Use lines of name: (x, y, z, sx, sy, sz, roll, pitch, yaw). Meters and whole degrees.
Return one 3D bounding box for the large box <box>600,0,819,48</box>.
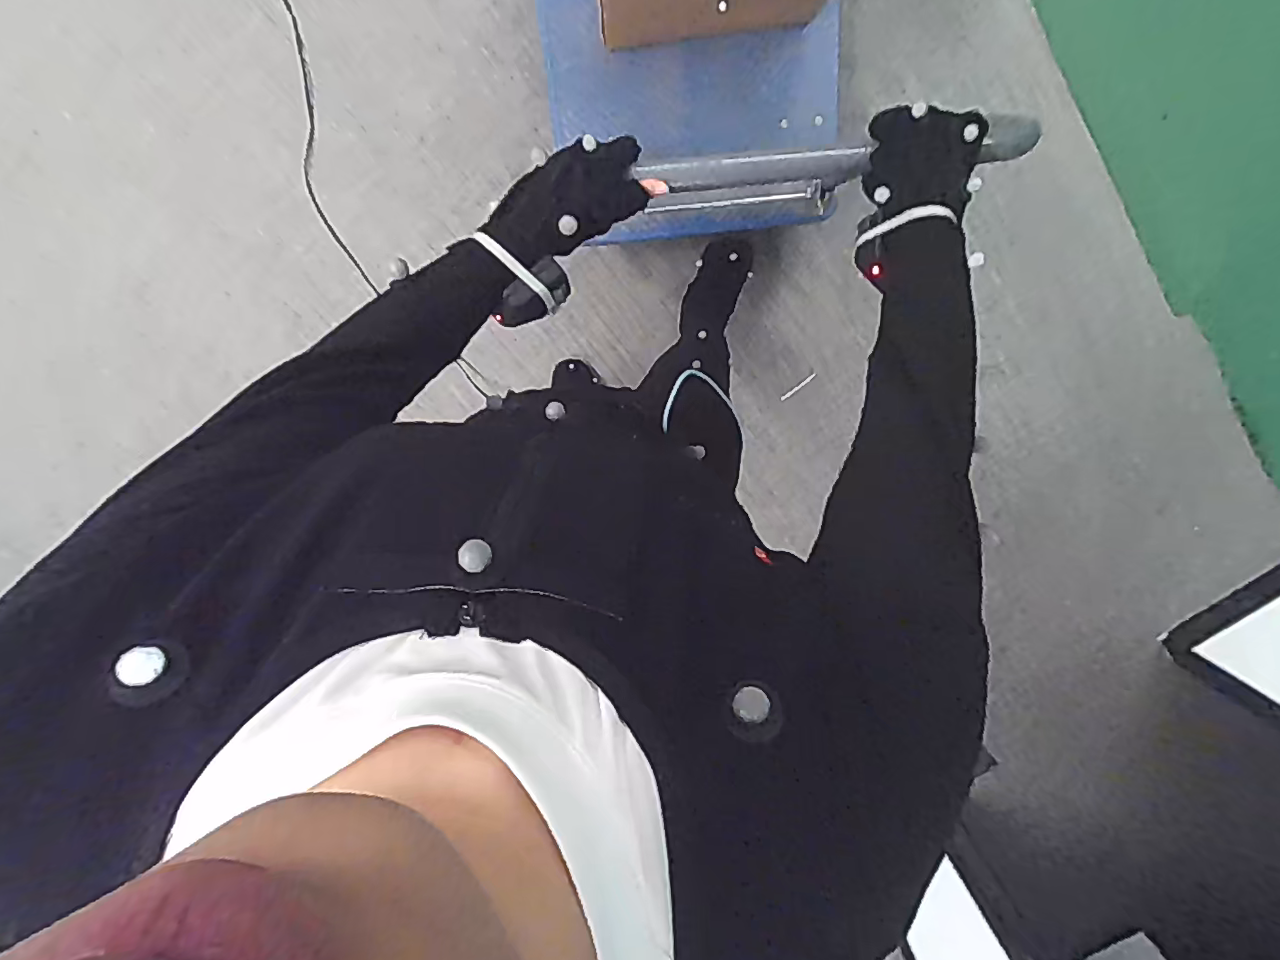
large box: (0.118, -0.954, 0.855, 0.408, 0.320, 0.320, -8, 109, 1)
